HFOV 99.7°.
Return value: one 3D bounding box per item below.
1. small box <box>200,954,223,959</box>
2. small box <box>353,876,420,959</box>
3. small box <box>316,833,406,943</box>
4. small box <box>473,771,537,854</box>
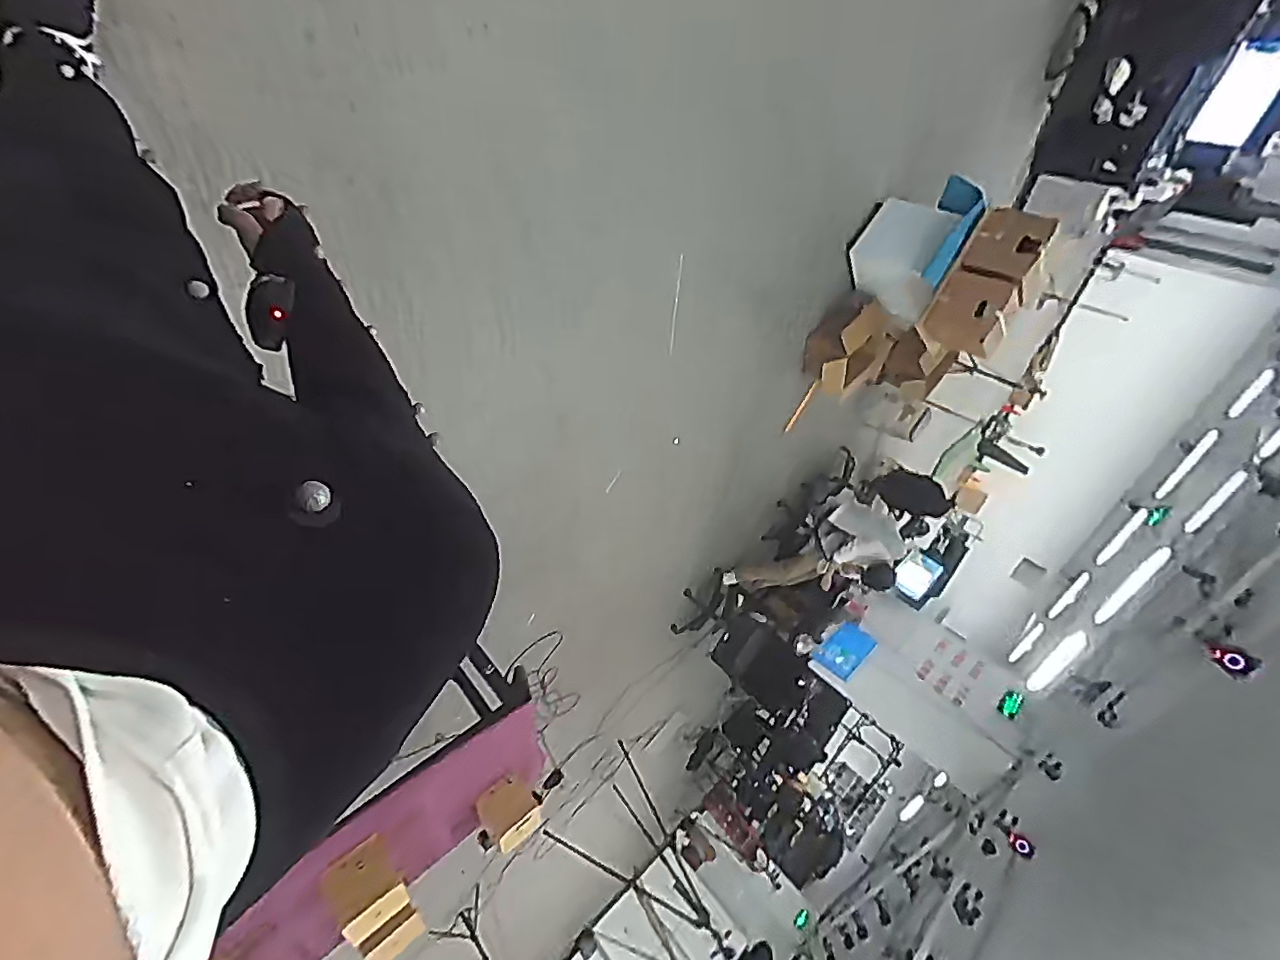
[{"bbox_3d":[-1.094,1.323,1.325,0.168,0.176,0.179,-27,141,-37],"label":"small box"},{"bbox_3d":[-0.834,1.403,1.739,0.168,0.176,0.179,-27,137,-36],"label":"small box"},{"bbox_3d":[-0.801,1.166,1.556,0.168,0.176,0.179,-26,139,-35],"label":"small box"},{"bbox_3d":[-0.495,1.209,1.979,0.168,0.176,0.179,-26,138,-35],"label":"small box"}]
